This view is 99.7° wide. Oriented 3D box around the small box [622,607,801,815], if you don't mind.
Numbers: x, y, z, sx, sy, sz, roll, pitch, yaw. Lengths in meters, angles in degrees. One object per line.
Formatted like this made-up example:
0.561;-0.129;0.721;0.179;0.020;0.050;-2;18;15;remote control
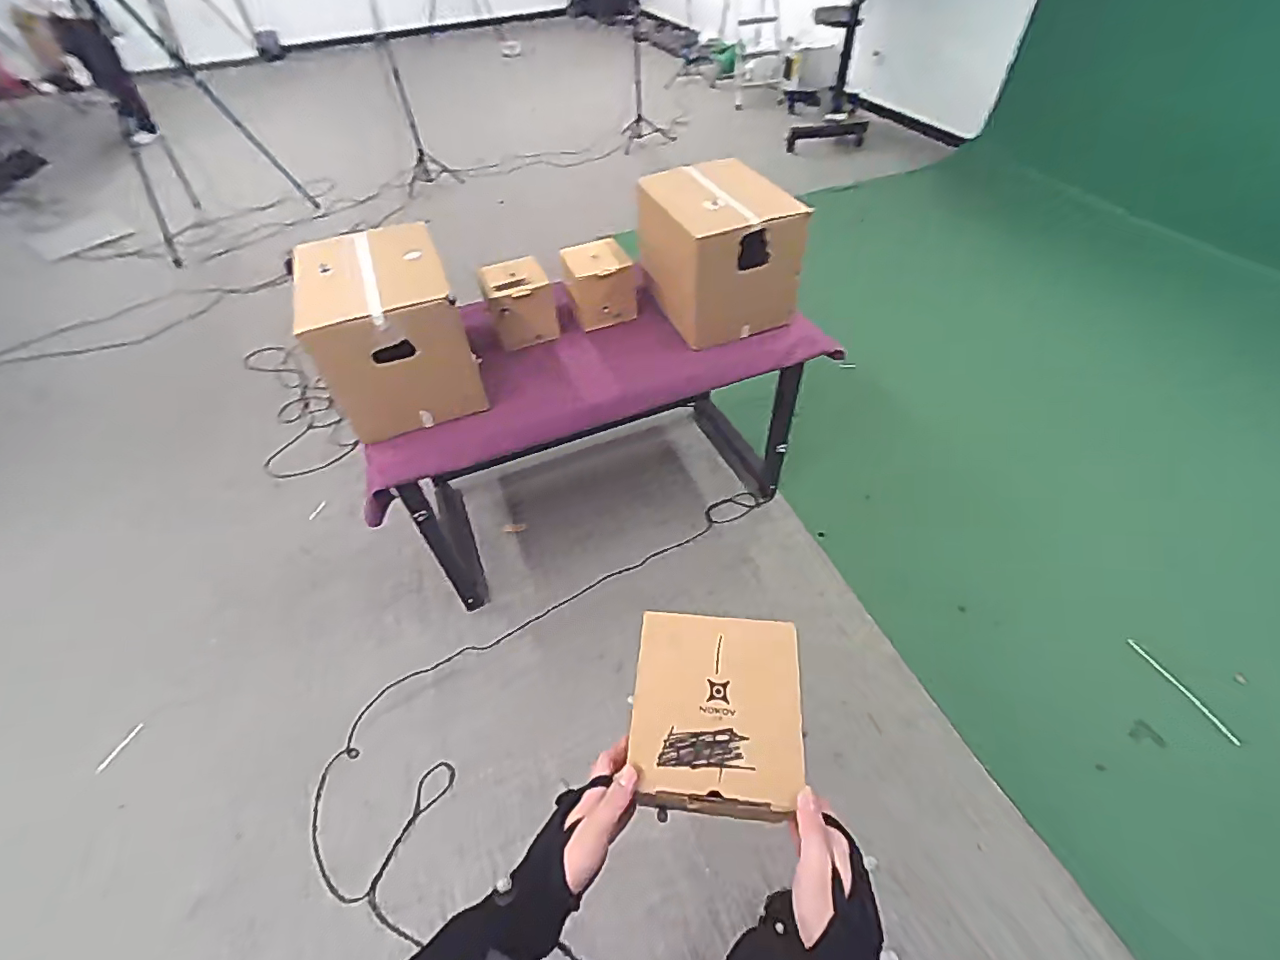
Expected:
0.078;0.260;0.601;0.168;0.176;0.179;3;54;5;small box

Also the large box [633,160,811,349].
0.200;-0.628;1.495;0.320;0.320;0.408;-19;52;-12;large box
